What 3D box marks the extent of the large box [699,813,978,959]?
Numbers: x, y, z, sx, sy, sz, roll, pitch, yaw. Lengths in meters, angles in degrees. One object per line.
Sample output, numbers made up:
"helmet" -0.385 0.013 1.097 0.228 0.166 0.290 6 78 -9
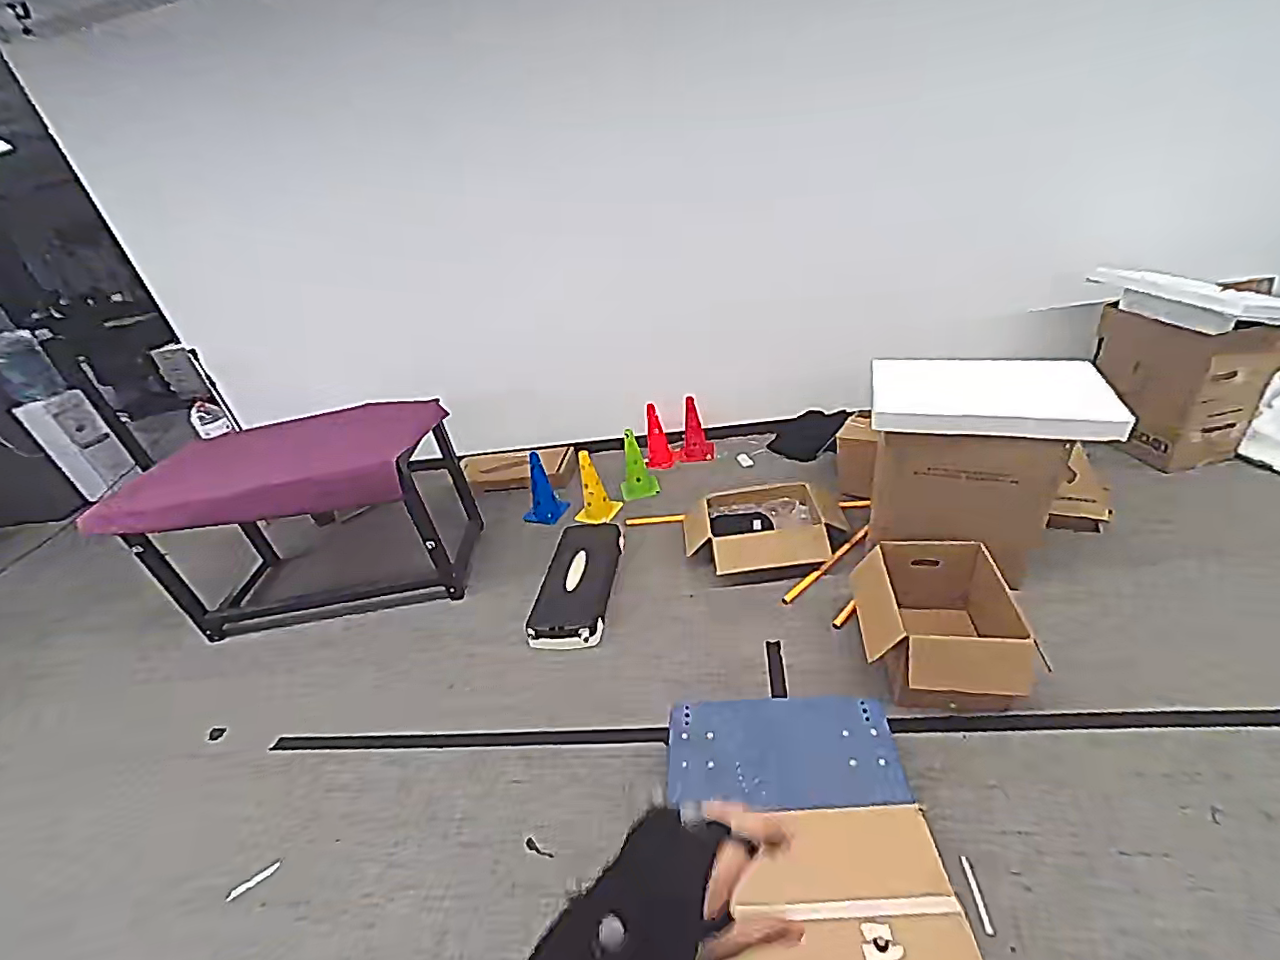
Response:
"large box" 0.322 0.827 0.934 0.408 0.320 0.320 -6 31 5
